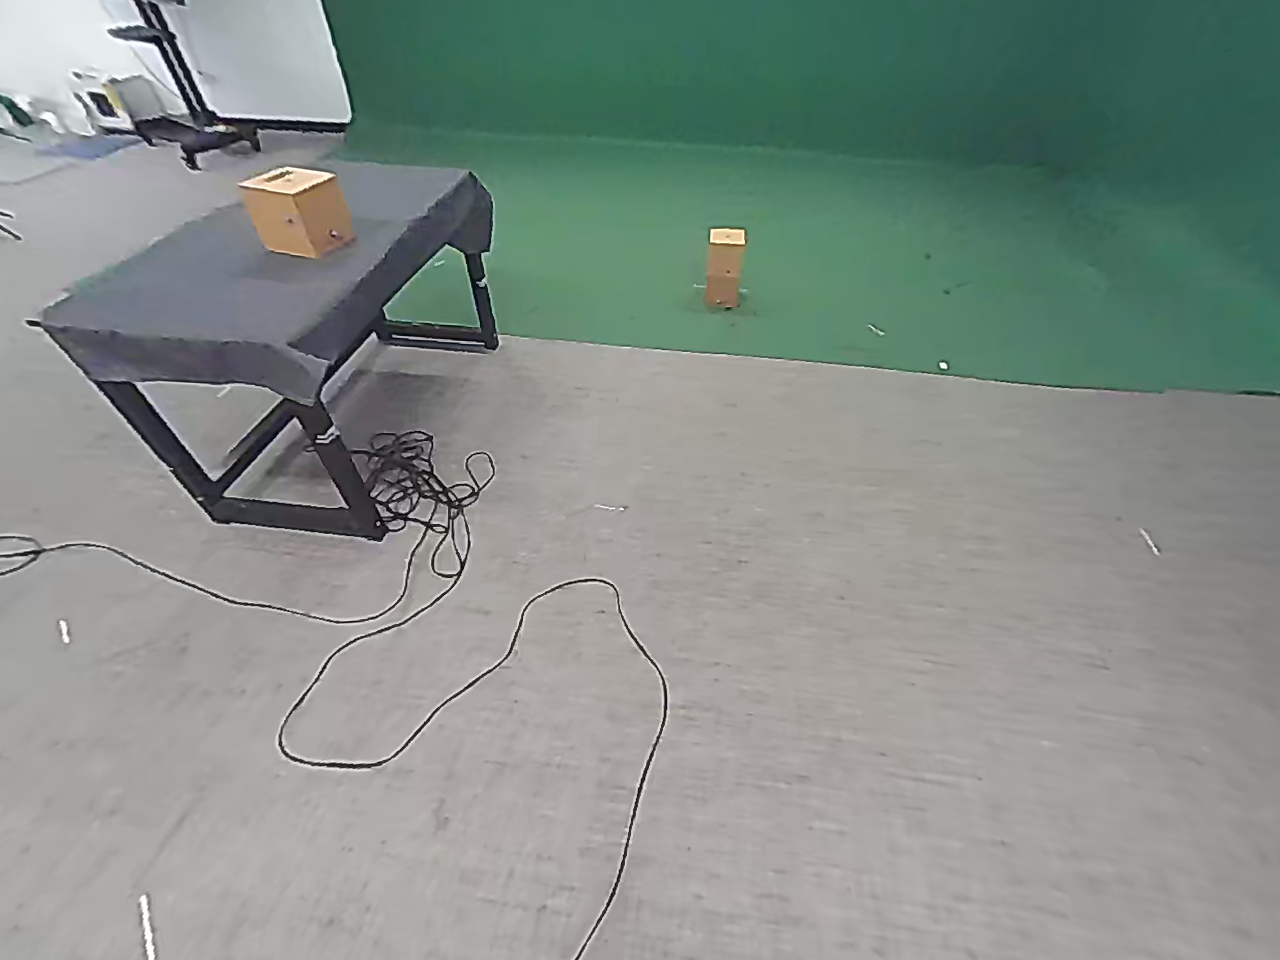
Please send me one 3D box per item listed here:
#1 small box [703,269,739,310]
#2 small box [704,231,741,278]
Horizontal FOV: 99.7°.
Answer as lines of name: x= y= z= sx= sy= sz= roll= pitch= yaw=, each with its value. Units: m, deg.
small box: x=0.417 y=-1.004 z=2.797 sx=0.168 sy=0.176 sz=0.179 roll=5 pitch=47 yaw=5
small box: x=0.409 y=-1.115 z=2.678 sx=0.168 sy=0.176 sz=0.179 roll=5 pitch=45 yaw=4
